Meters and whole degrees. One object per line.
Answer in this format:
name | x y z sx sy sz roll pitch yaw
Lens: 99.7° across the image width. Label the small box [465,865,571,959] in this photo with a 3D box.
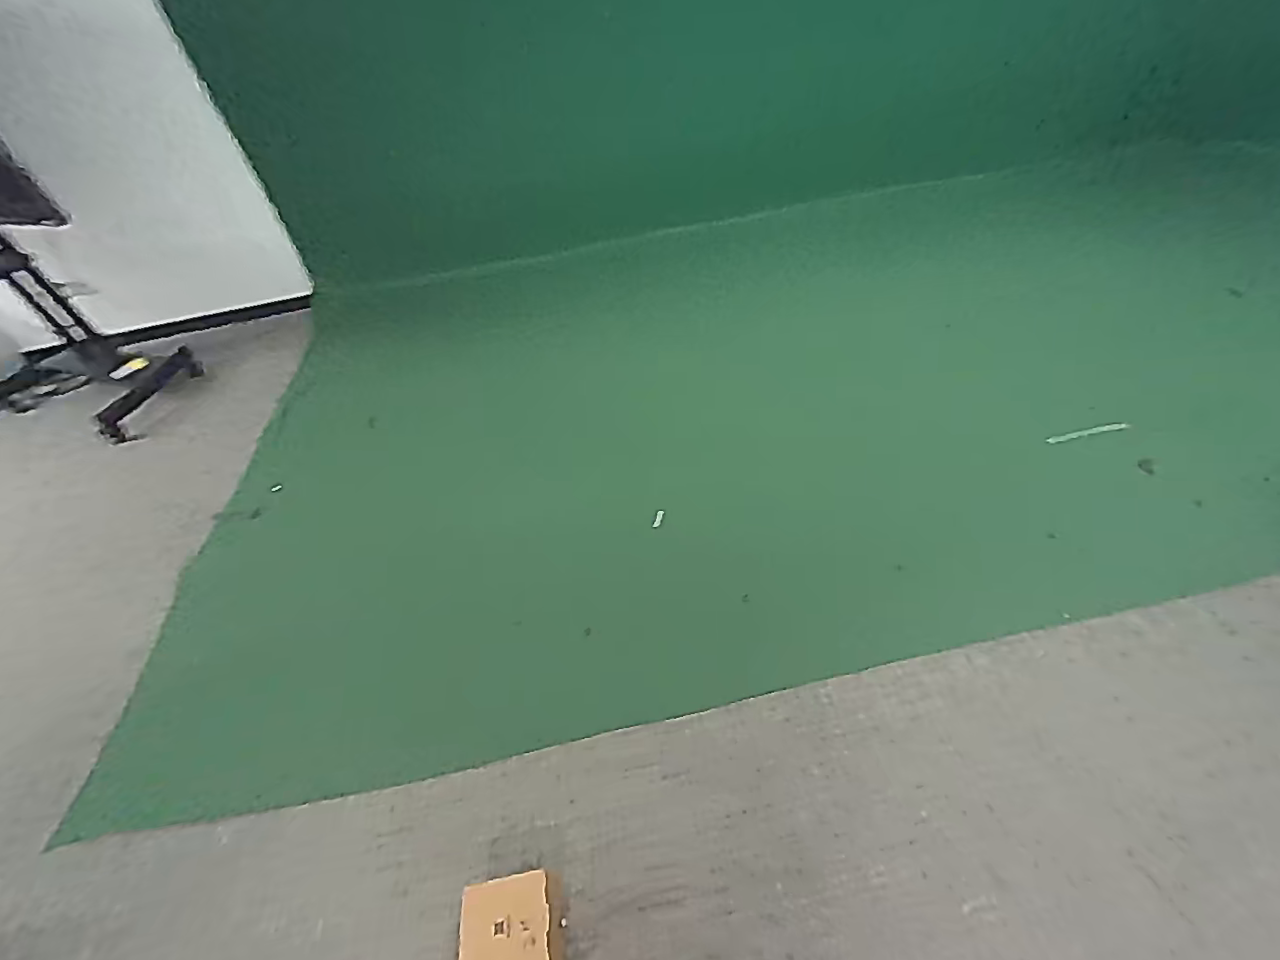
small box | -0.250 0.934 1.128 0.179 0.176 0.168 -11 45 -2
